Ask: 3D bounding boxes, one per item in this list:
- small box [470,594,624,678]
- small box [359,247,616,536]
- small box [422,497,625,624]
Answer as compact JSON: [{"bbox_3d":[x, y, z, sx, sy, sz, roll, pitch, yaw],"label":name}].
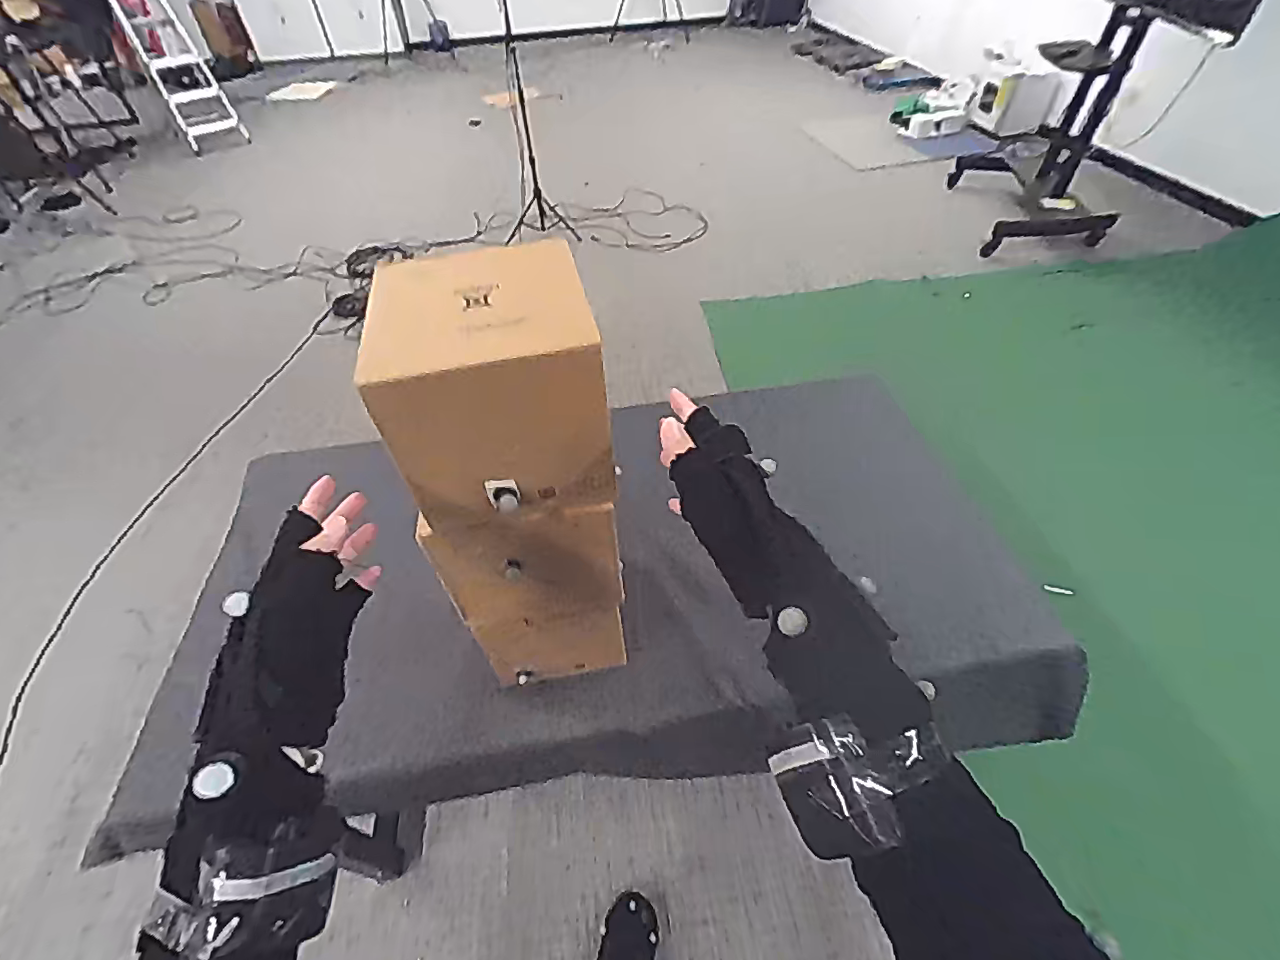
[{"bbox_3d":[-0.116,0.145,0.718,0.168,0.176,0.179,-9,46,-5],"label":"small box"},{"bbox_3d":[-0.123,-0.079,0.480,0.168,0.176,0.179,-13,48,-7],"label":"small box"},{"bbox_3d":[-0.120,0.038,0.597,0.179,0.176,0.168,-10,46,-7],"label":"small box"}]
